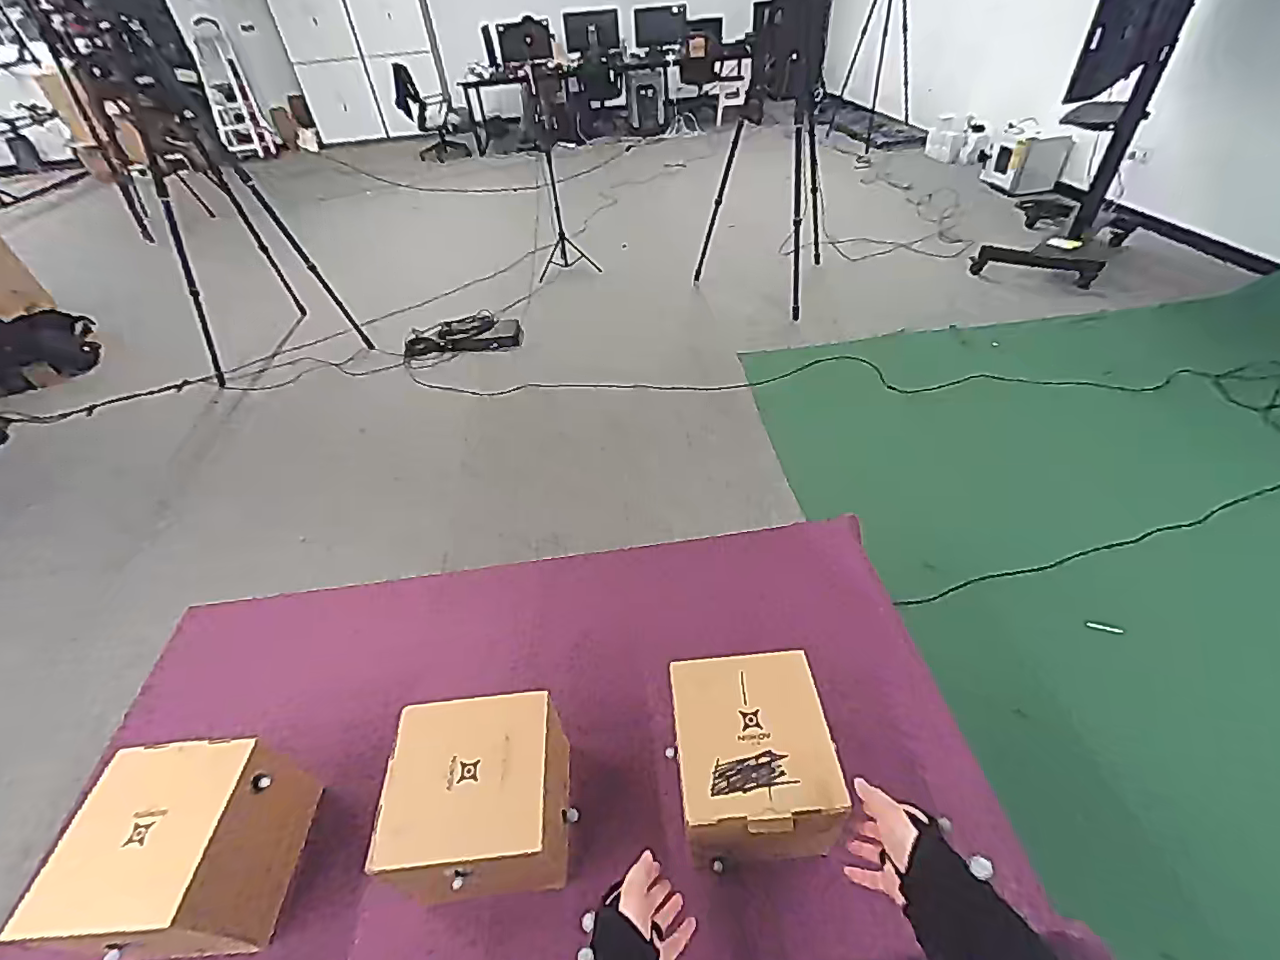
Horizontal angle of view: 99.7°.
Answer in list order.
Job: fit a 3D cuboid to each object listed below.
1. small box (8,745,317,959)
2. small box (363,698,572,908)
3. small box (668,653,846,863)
[{"bbox_3d":[-0.512,0.433,0.621,0.168,0.176,0.179,-5,41,1],"label":"small box"},{"bbox_3d":[-0.183,0.381,0.636,0.179,0.176,0.168,-6,43,0],"label":"small box"},{"bbox_3d":[0.126,0.334,0.644,0.168,0.176,0.179,-6,41,0],"label":"small box"}]
